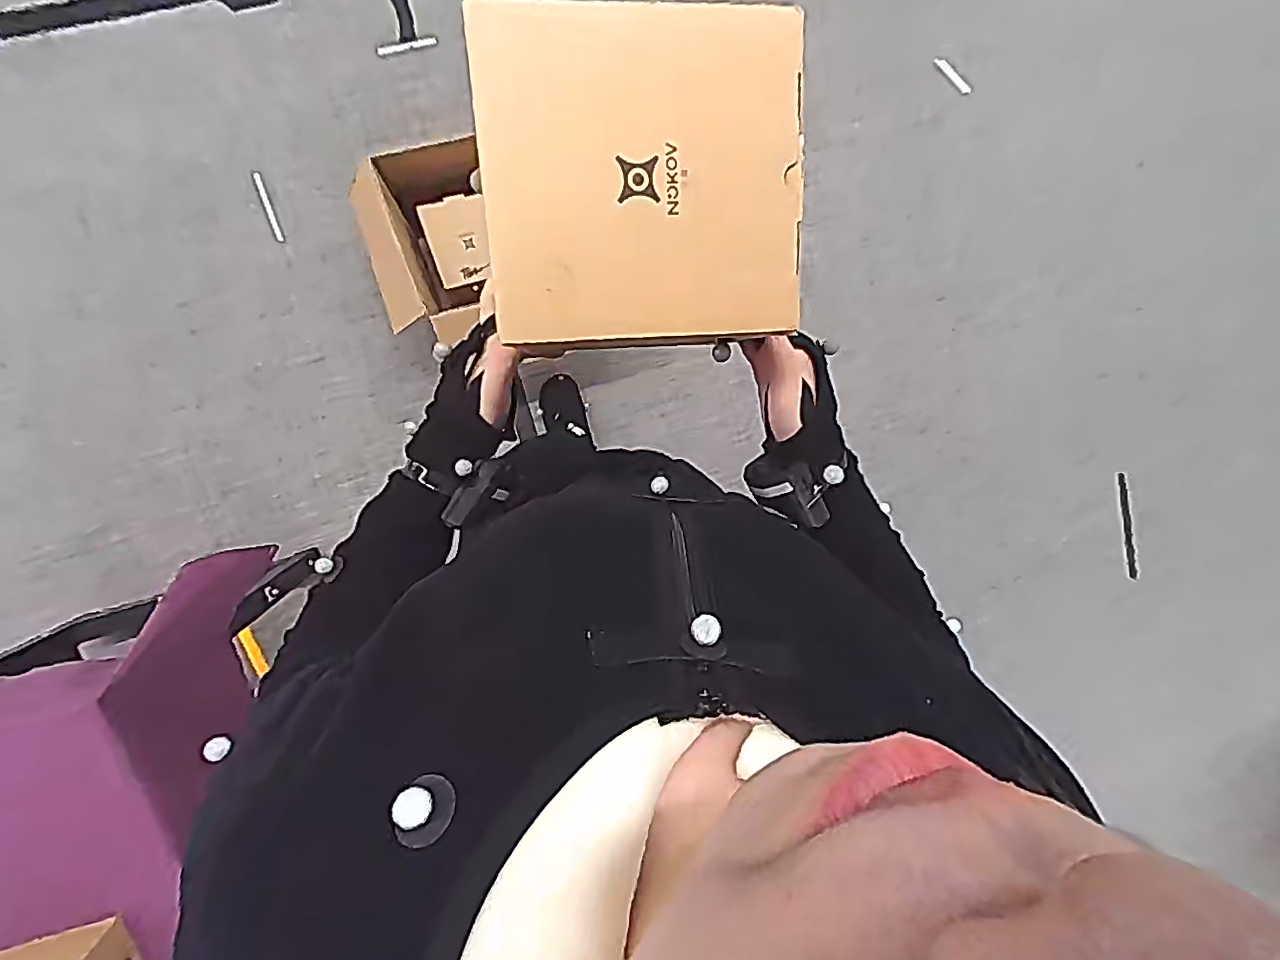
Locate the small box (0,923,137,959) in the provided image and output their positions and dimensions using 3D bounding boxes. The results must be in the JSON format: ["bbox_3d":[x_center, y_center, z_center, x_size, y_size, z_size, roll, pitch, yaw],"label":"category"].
[{"bbox_3d":[-0.743,0.689,0.648,0.179,0.176,0.168,-13,101,-7],"label":"small box"}]

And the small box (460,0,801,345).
[{"bbox_3d":[-0.008,-0.182,0.365,0.179,0.176,0.168,-5,103,-7],"label":"small box"}]
